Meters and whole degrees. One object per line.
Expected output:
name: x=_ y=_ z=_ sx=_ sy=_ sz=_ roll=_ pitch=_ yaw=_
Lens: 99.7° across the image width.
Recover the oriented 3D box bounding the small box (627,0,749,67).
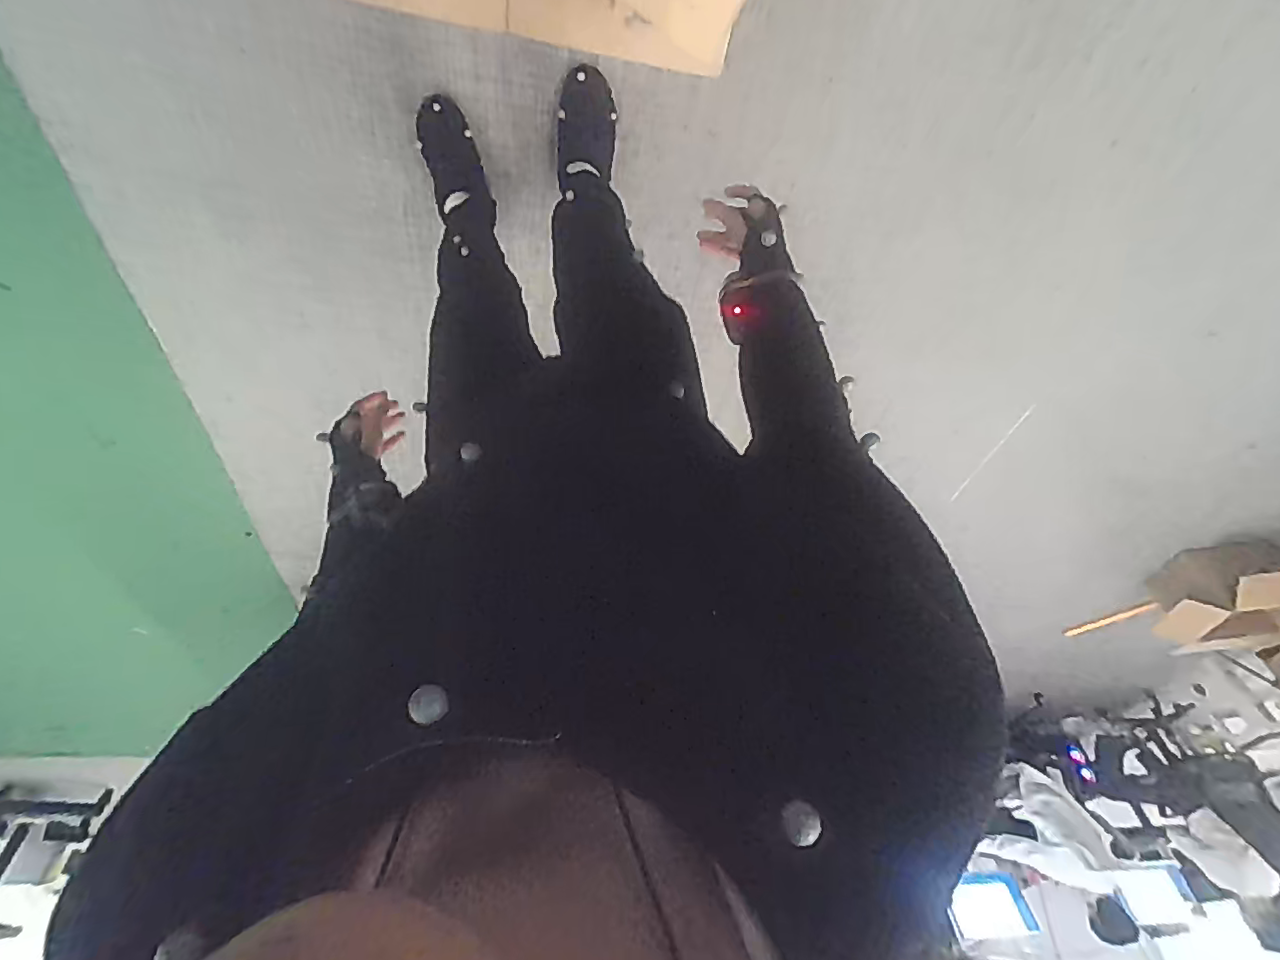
small box: x=0.067 y=-0.711 z=0.722 sx=0.168 sy=0.176 sz=0.179 roll=19 pitch=131 yaw=-25
